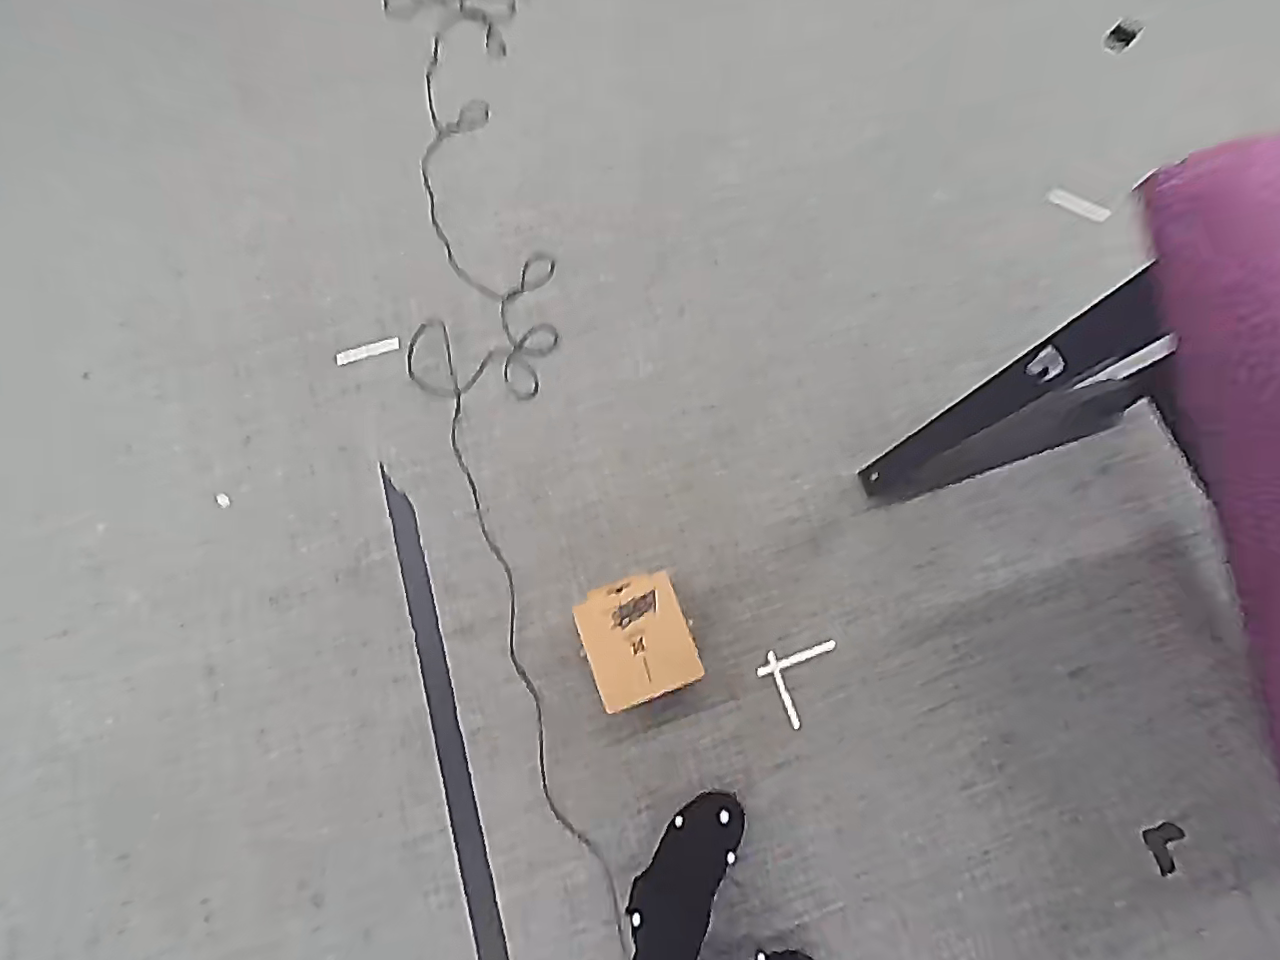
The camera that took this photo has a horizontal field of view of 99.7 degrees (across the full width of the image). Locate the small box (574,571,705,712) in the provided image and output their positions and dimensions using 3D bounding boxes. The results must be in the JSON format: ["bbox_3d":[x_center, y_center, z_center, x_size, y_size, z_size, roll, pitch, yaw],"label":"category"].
[{"bbox_3d":[-0.003,0.272,0.925,0.168,0.176,0.179,-20,76,-4],"label":"small box"}]
